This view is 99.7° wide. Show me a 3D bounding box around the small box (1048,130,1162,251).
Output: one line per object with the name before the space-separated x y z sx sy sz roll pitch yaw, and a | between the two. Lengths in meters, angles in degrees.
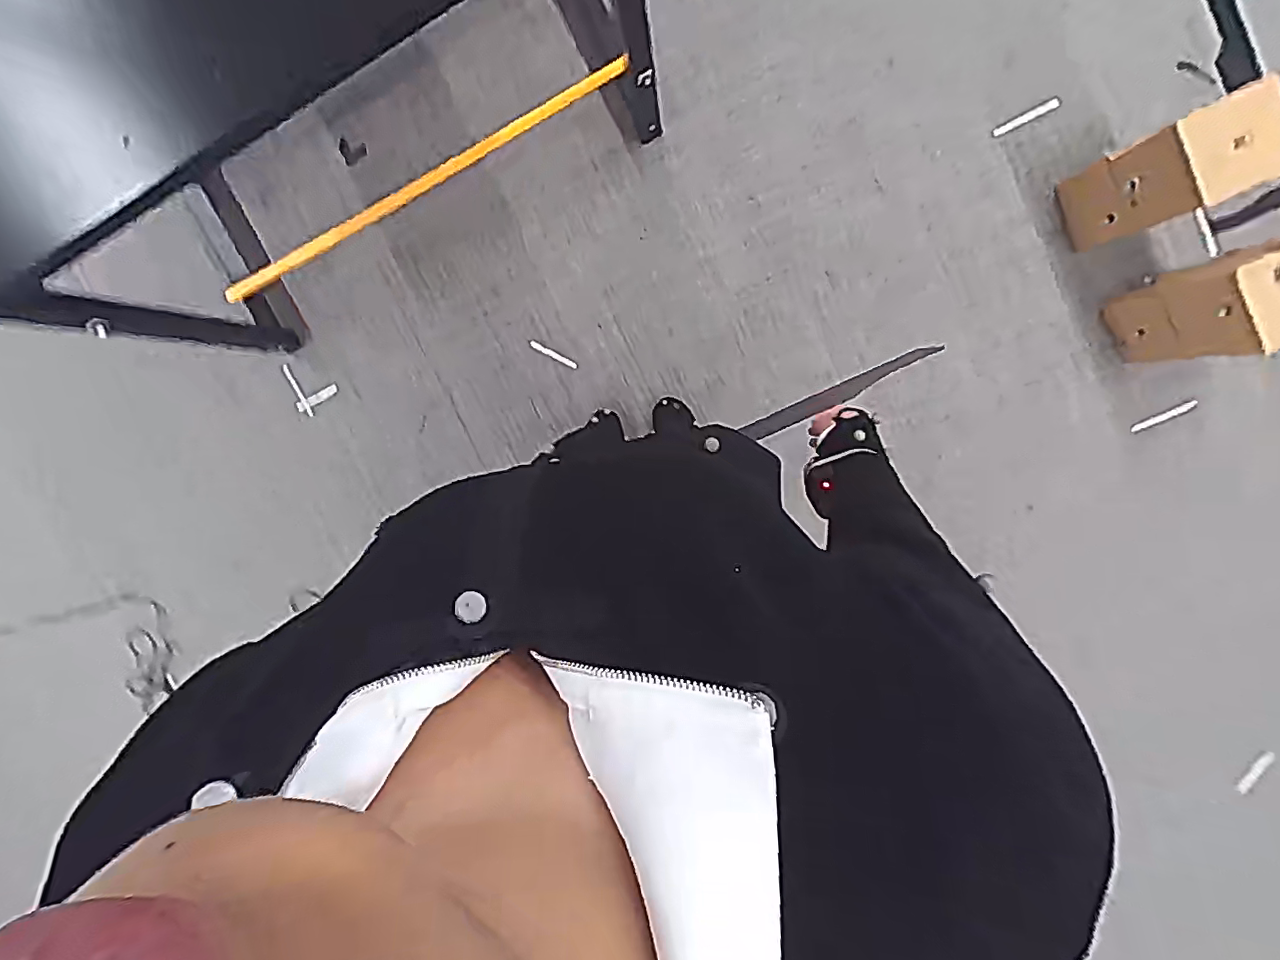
small box | 1.079 -0.641 1.222 0.168 0.176 0.179 -24 95 8

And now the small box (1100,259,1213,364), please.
small box | 1.222 -0.380 1.250 0.179 0.176 0.168 -28 95 9

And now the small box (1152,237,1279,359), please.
small box | 1.201 -0.360 1.087 0.168 0.176 0.179 -28 96 9

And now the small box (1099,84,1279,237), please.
small box | 1.072 -0.613 1.062 0.179 0.176 0.168 -25 94 9
